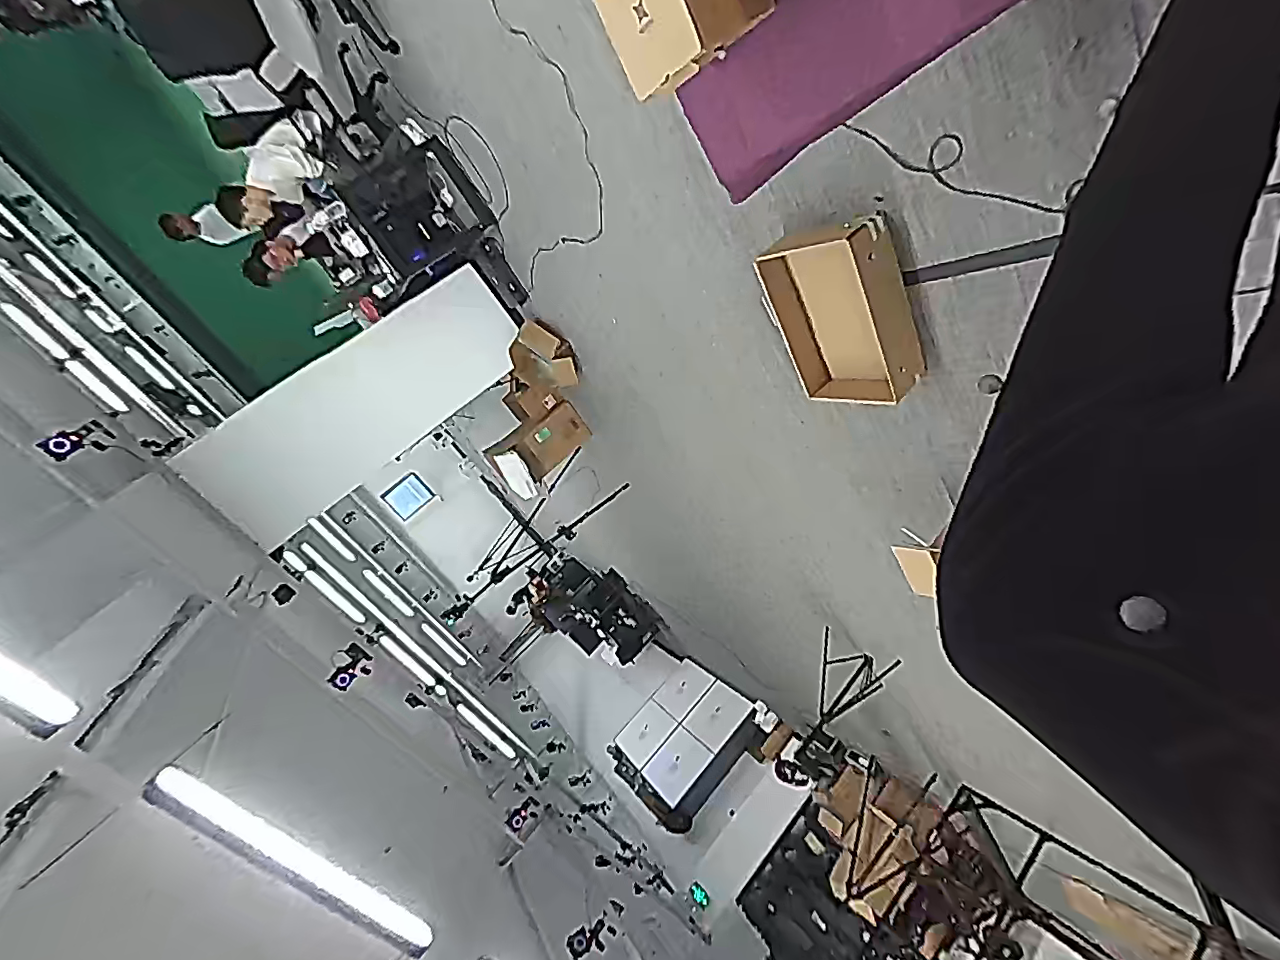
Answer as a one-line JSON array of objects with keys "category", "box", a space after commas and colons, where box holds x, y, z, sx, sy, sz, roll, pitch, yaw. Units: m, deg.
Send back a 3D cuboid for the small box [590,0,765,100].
[{"category": "small box", "box": [0.054, -0.716, 0.794, 0.168, 0.176, 0.179, 15, 144, 56]}]
